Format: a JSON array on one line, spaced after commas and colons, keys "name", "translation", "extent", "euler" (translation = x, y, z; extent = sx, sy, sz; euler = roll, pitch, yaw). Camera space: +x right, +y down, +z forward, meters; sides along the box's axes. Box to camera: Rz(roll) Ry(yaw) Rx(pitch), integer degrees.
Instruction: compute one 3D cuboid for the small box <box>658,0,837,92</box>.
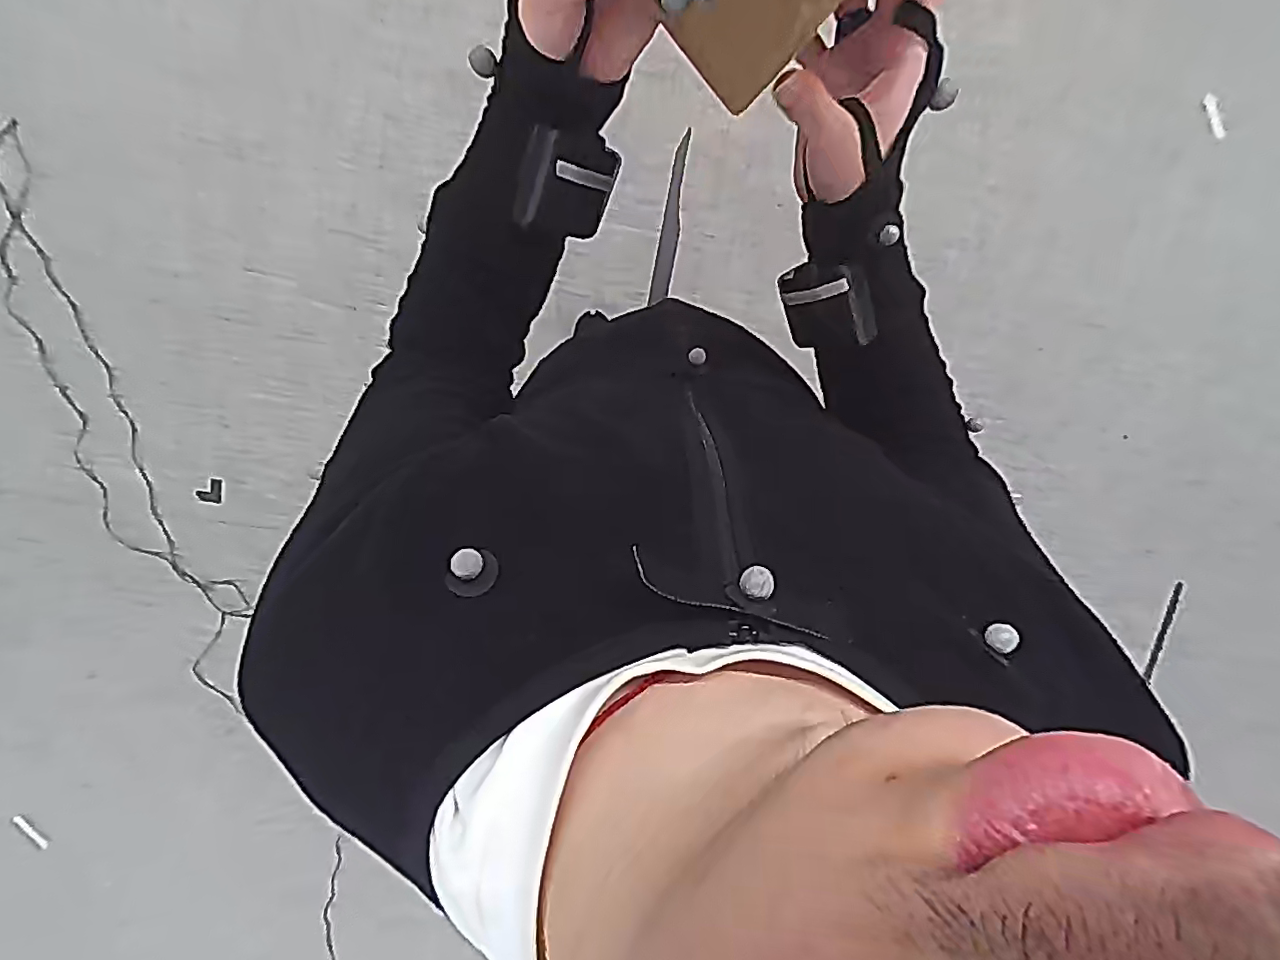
[{"name": "small box", "translation": [0.058, -0.284, 0.186], "extent": [0.179, 0.176, 0.168], "euler": [-43, 109, 15]}]
